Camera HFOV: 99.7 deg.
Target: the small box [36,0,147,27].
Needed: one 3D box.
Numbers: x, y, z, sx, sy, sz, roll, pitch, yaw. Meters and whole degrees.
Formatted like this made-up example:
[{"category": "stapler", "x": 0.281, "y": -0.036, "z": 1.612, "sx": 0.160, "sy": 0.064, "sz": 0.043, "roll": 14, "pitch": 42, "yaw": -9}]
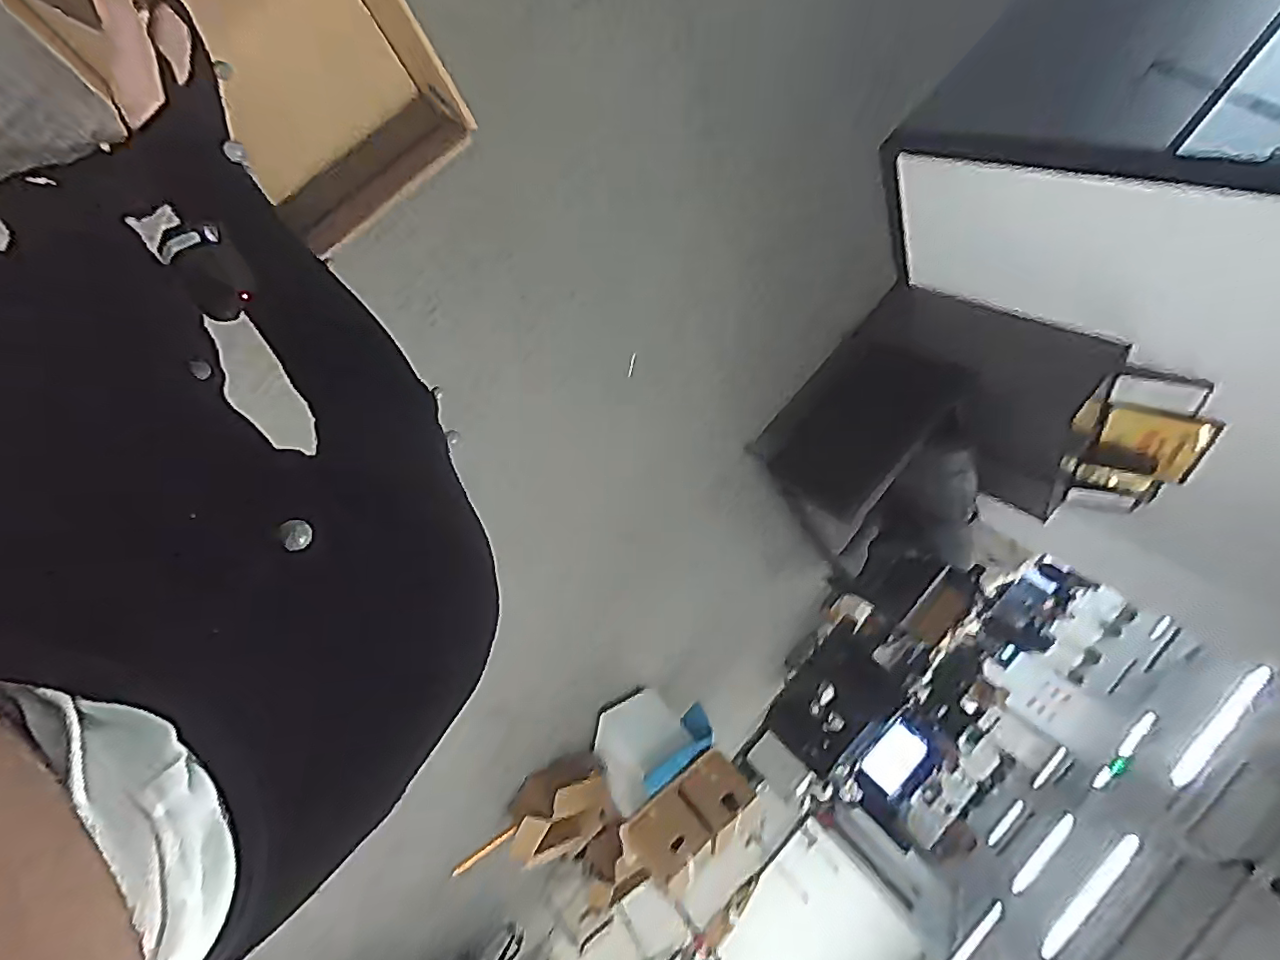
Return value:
[{"category": "small box", "x": -0.436, "y": -0.458, "z": 0.359, "sx": 0.168, "sy": 0.176, "sz": 0.179, "roll": 7, "pitch": 103, "yaw": -53}]
